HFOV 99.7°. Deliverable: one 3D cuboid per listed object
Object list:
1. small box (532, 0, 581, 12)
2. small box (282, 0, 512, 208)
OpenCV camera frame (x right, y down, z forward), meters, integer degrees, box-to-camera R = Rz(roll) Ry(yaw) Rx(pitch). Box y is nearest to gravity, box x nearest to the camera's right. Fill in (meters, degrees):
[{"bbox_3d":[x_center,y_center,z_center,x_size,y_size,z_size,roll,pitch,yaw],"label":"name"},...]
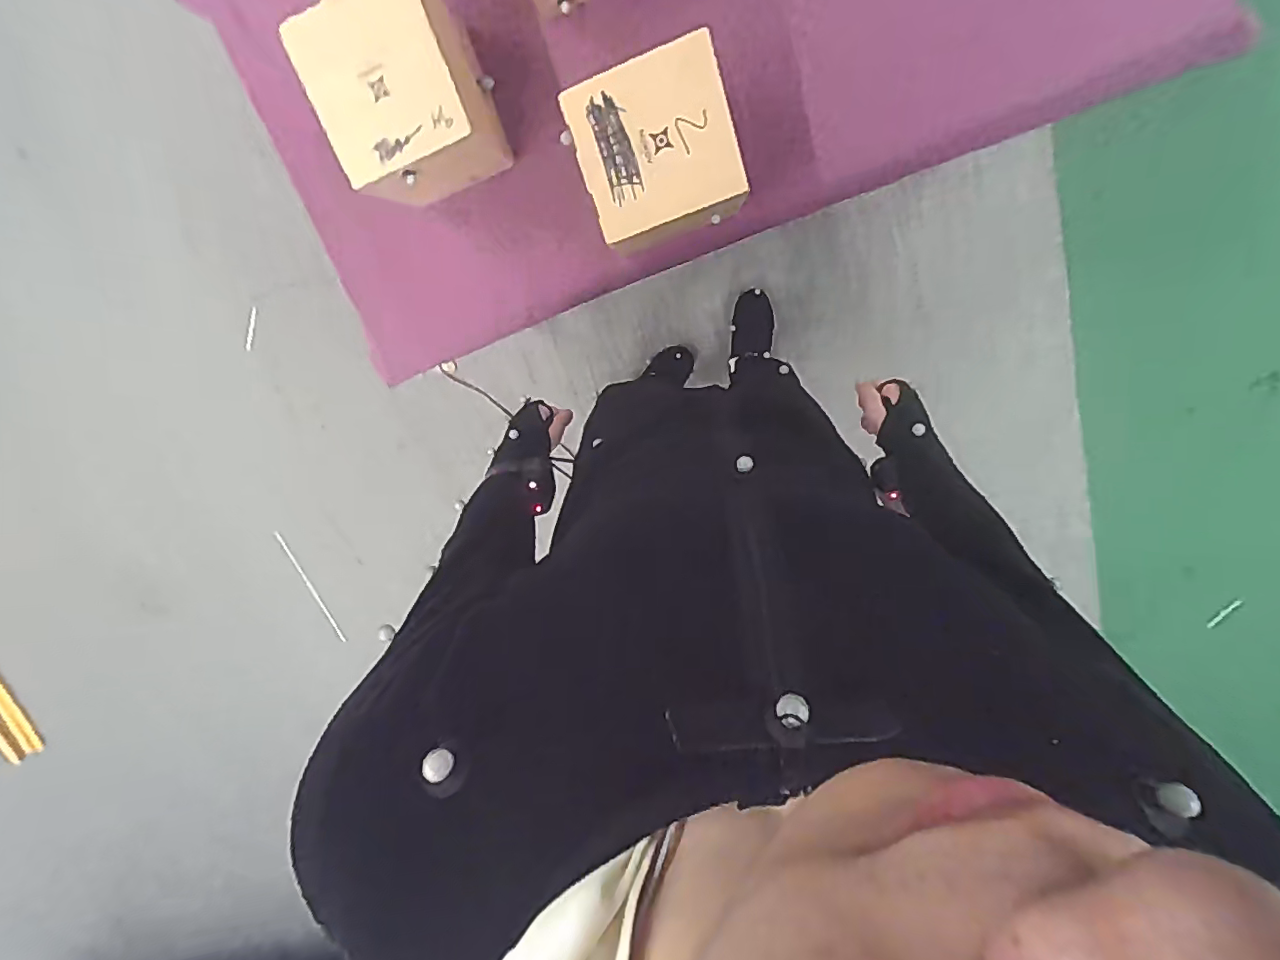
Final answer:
[{"bbox_3d":[-0.089,-0.673,0.597,0.168,0.176,0.179,-19,106,11],"label":"small box"},{"bbox_3d":[-0.289,-0.472,0.683,0.168,0.176,0.179,-17,106,12],"label":"small box"}]
